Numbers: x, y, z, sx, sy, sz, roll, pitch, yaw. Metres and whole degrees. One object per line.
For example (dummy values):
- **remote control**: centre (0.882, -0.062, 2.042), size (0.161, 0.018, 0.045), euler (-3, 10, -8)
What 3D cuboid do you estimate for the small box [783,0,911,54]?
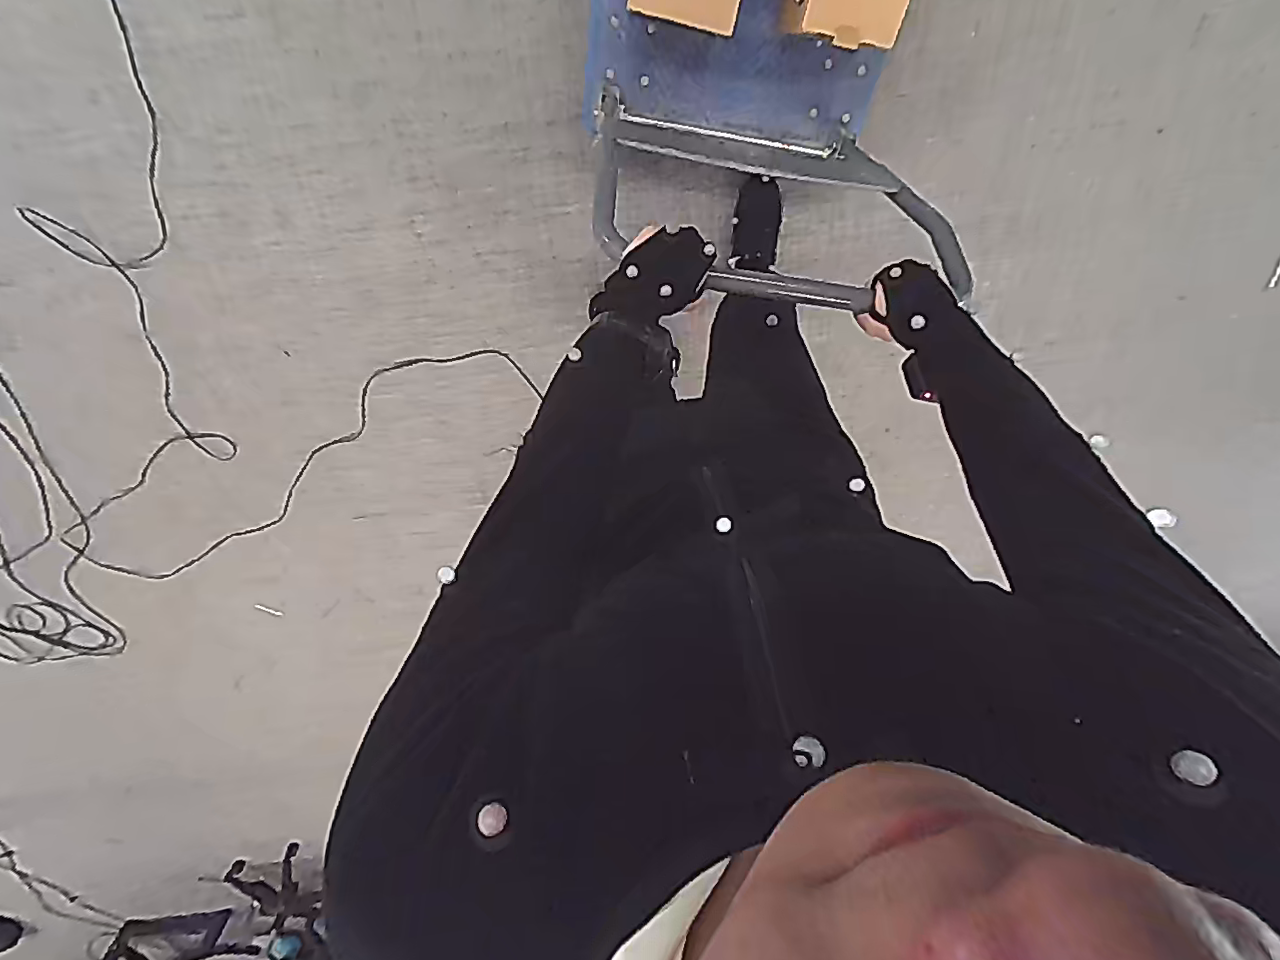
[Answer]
- **small box**: centre (0.359, -0.850, 0.913), size (0.168, 0.176, 0.179), euler (6, 131, -8)
